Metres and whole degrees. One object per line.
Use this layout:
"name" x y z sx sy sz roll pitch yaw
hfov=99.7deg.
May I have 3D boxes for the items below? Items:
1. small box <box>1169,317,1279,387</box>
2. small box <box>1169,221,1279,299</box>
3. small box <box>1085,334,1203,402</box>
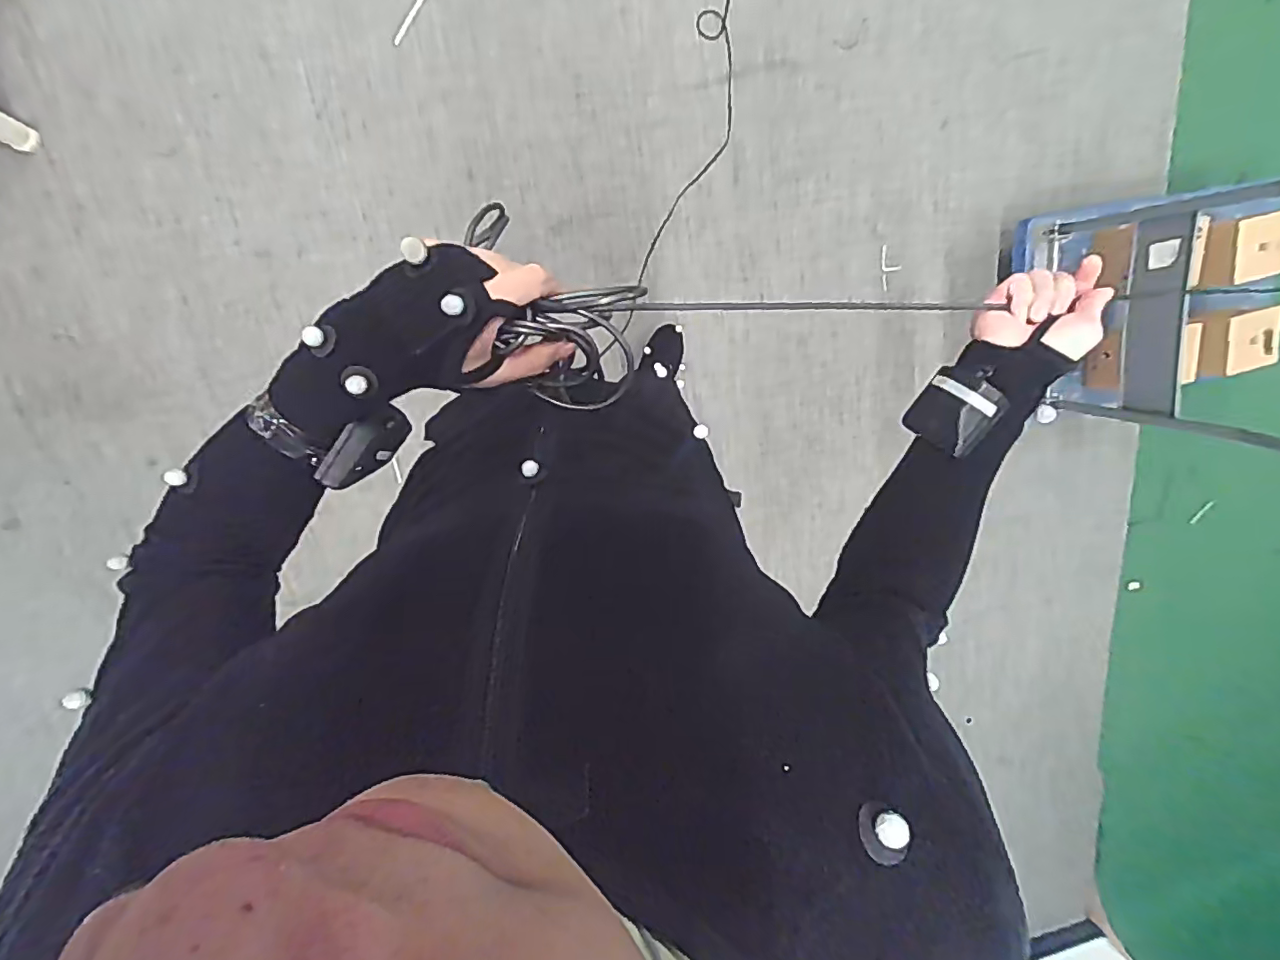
"small box" 1.708 -0.378 1.590 0.179 0.176 0.168 -14 105 -5
"small box" 1.651 -0.614 1.522 0.179 0.176 0.168 -15 107 -6
"small box" 1.444 -0.327 1.558 0.179 0.176 0.168 -10 105 -6
